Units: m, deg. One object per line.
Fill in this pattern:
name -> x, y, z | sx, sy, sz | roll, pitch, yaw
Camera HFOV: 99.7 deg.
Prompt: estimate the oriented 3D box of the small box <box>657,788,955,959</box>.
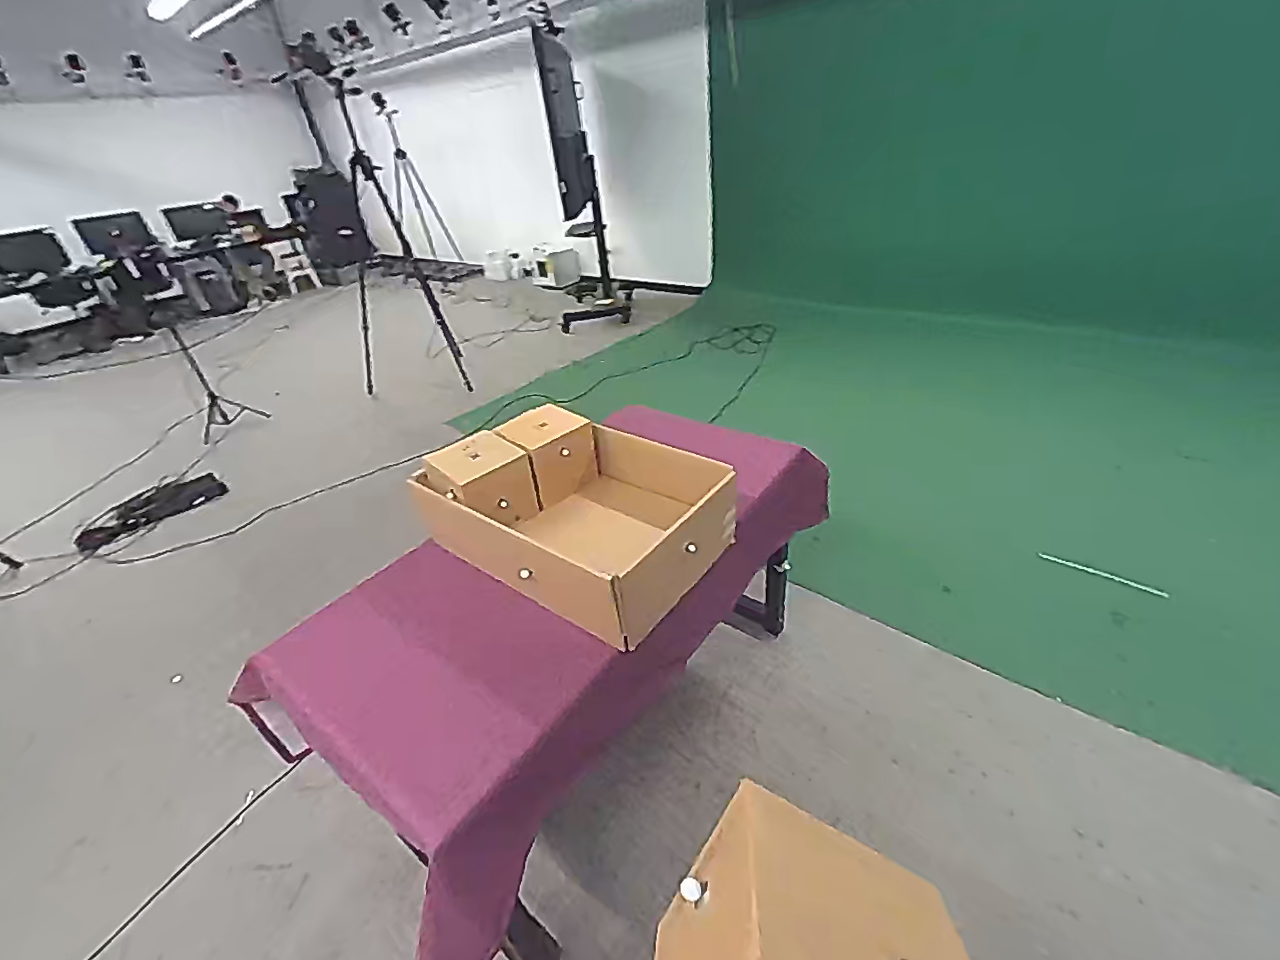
small box -> 0.119, 0.372, 0.395 | 0.179, 0.168, 0.176 | 26, 8, 6
